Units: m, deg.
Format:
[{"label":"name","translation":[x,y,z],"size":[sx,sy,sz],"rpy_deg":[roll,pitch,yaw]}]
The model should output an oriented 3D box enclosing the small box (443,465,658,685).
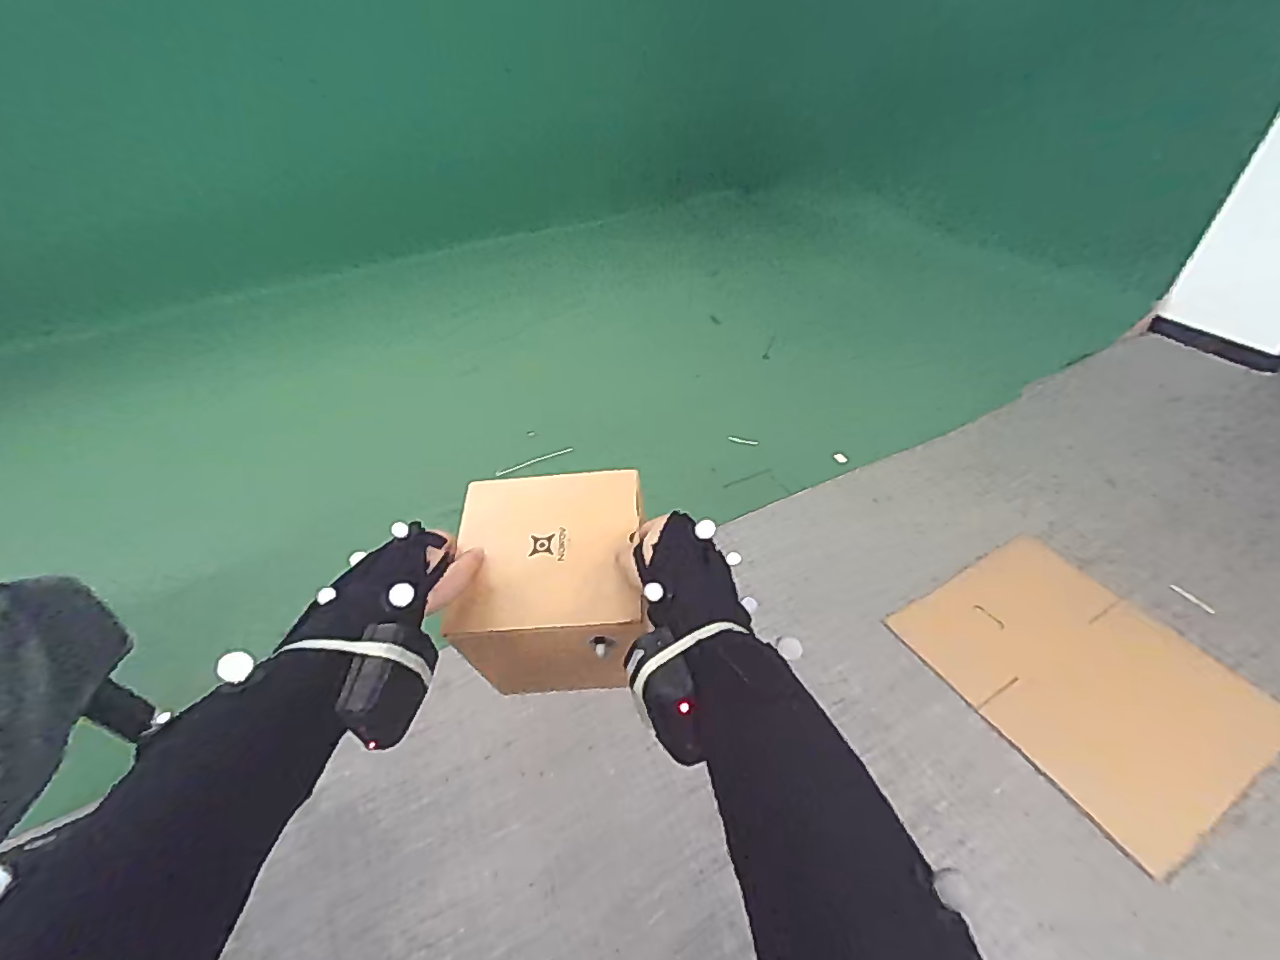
[{"label":"small box","translation":[-0.076,0.105,0.564],"size":[0.179,0.176,0.168],"rpy_deg":[-4,51,3]}]
